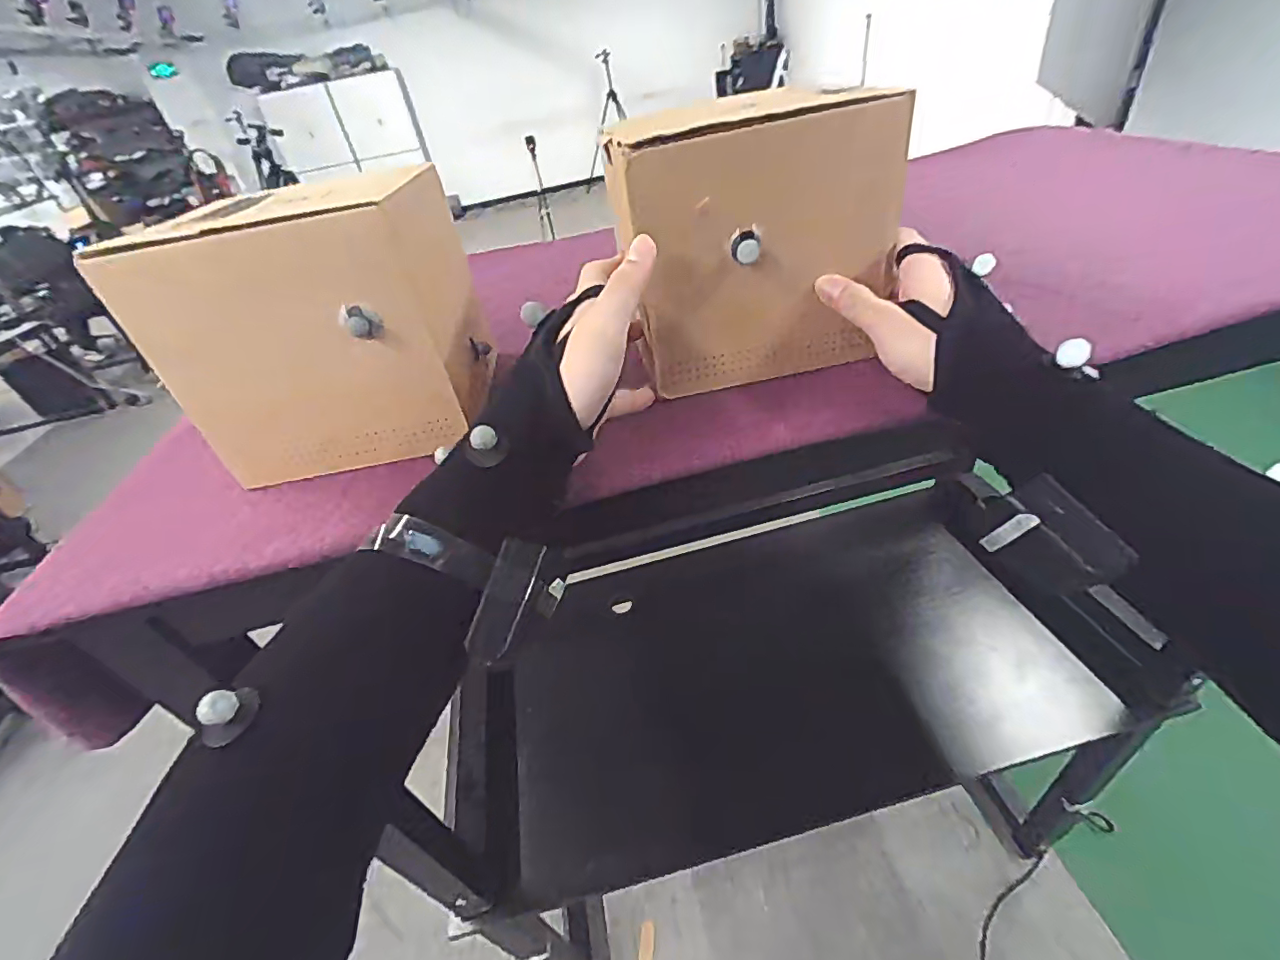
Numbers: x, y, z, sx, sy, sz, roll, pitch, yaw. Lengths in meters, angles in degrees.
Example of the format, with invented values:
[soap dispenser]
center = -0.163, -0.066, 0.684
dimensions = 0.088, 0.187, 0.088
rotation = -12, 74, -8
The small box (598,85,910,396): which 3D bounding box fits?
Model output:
[small box]
center = 0.076, -0.184, 0.418
dimensions = 0.179, 0.176, 0.168
rotation = -13, 39, 0
